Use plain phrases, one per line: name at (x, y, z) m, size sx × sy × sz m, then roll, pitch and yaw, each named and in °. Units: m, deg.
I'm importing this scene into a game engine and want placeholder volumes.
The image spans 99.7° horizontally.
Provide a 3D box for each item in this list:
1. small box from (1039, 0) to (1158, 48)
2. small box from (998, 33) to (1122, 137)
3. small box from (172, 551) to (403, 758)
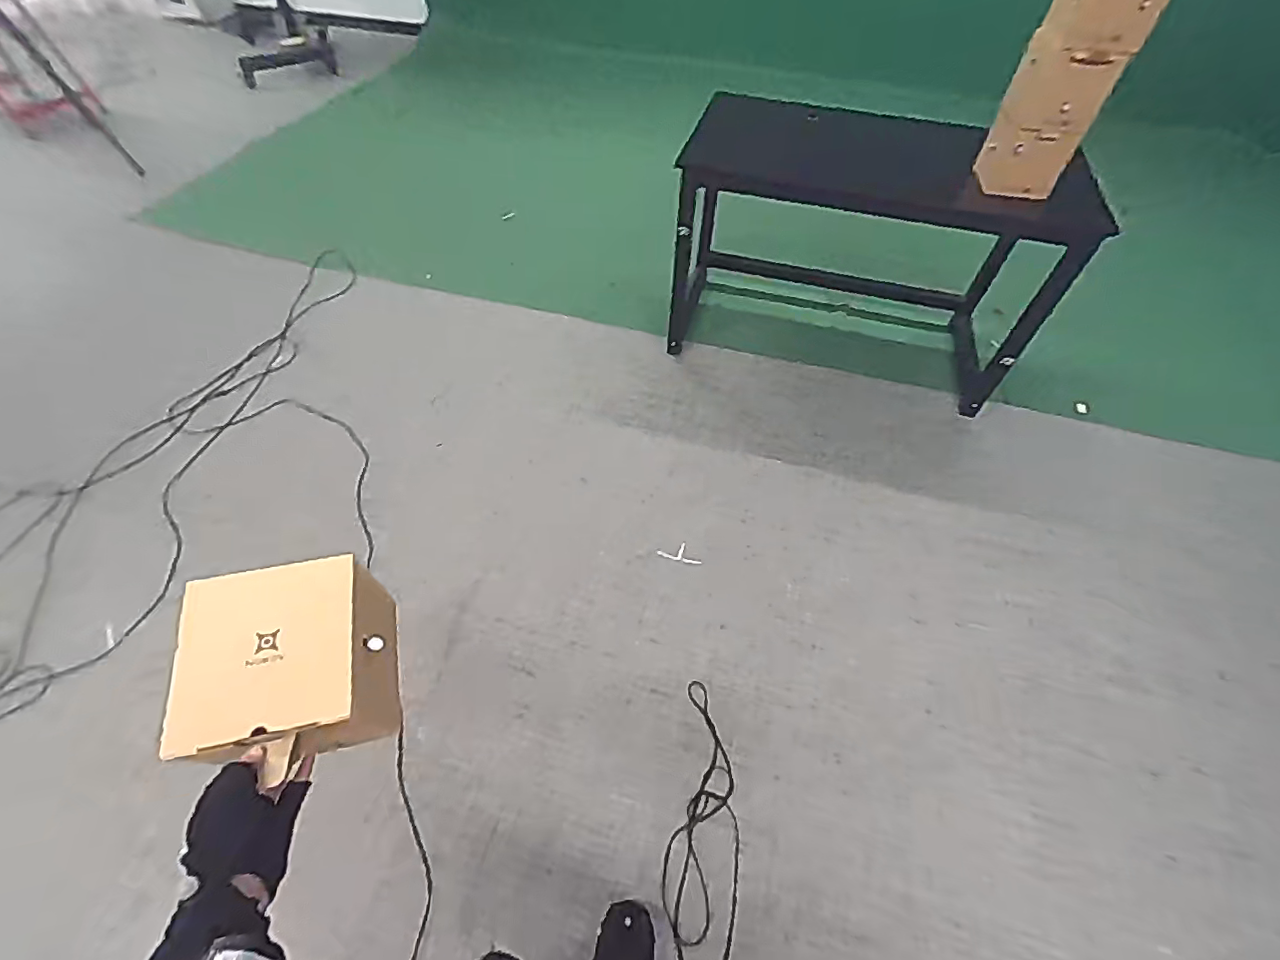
small box at (1.062, -1.113, 1.232) m, size 0.168 × 0.176 × 0.179 m, roll 8°, pitch 52°, yaw 4°
small box at (1.051, -1.005, 1.376) m, size 0.168 × 0.176 × 0.179 m, roll 7°, pitch 53°, yaw 4°
small box at (-0.380, 0.204, 0.620) m, size 0.168 × 0.176 × 0.179 m, roll -9°, pitch 63°, yaw -12°
